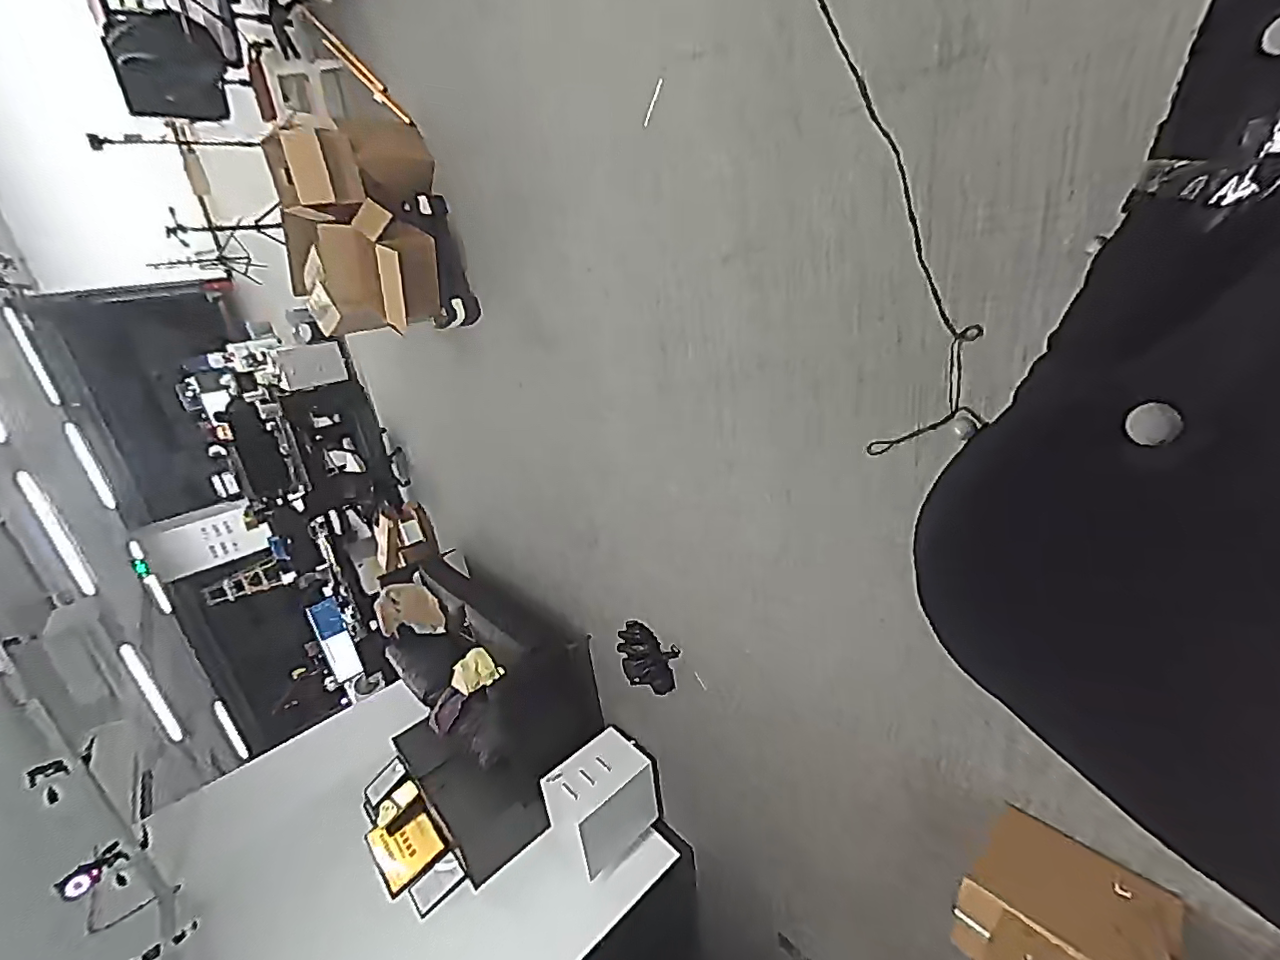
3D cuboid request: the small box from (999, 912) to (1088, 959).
[{"bbox_3d":[0.976,1.217,1.314,0.168,0.176,0.179,22,125,45],"label":"small box"}]
